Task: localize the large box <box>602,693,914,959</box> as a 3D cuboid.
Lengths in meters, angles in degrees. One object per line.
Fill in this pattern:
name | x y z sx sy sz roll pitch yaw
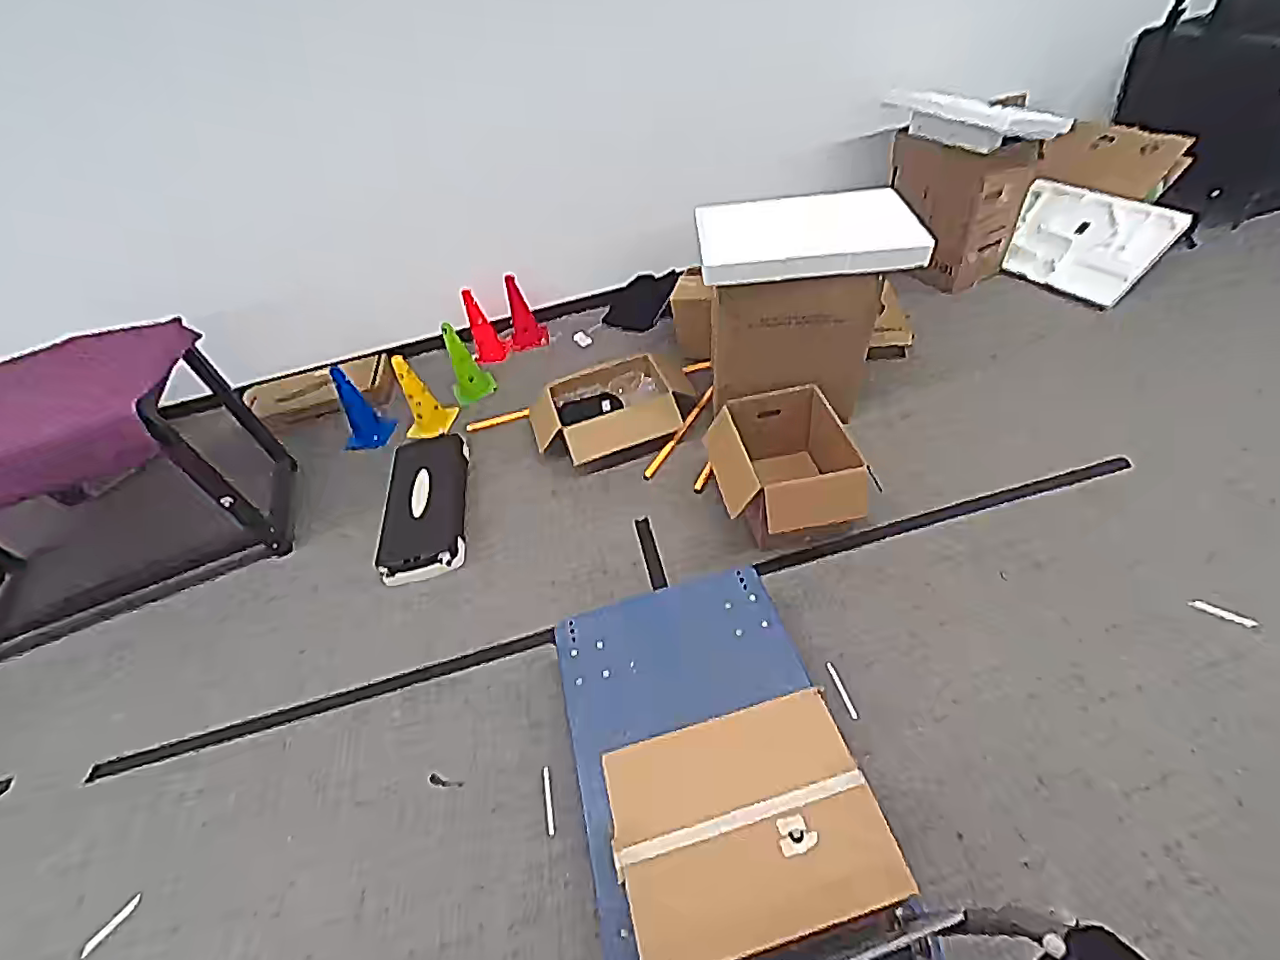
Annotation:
large box | 0.178 0.639 0.949 0.408 0.320 0.320 -15 47 -5
